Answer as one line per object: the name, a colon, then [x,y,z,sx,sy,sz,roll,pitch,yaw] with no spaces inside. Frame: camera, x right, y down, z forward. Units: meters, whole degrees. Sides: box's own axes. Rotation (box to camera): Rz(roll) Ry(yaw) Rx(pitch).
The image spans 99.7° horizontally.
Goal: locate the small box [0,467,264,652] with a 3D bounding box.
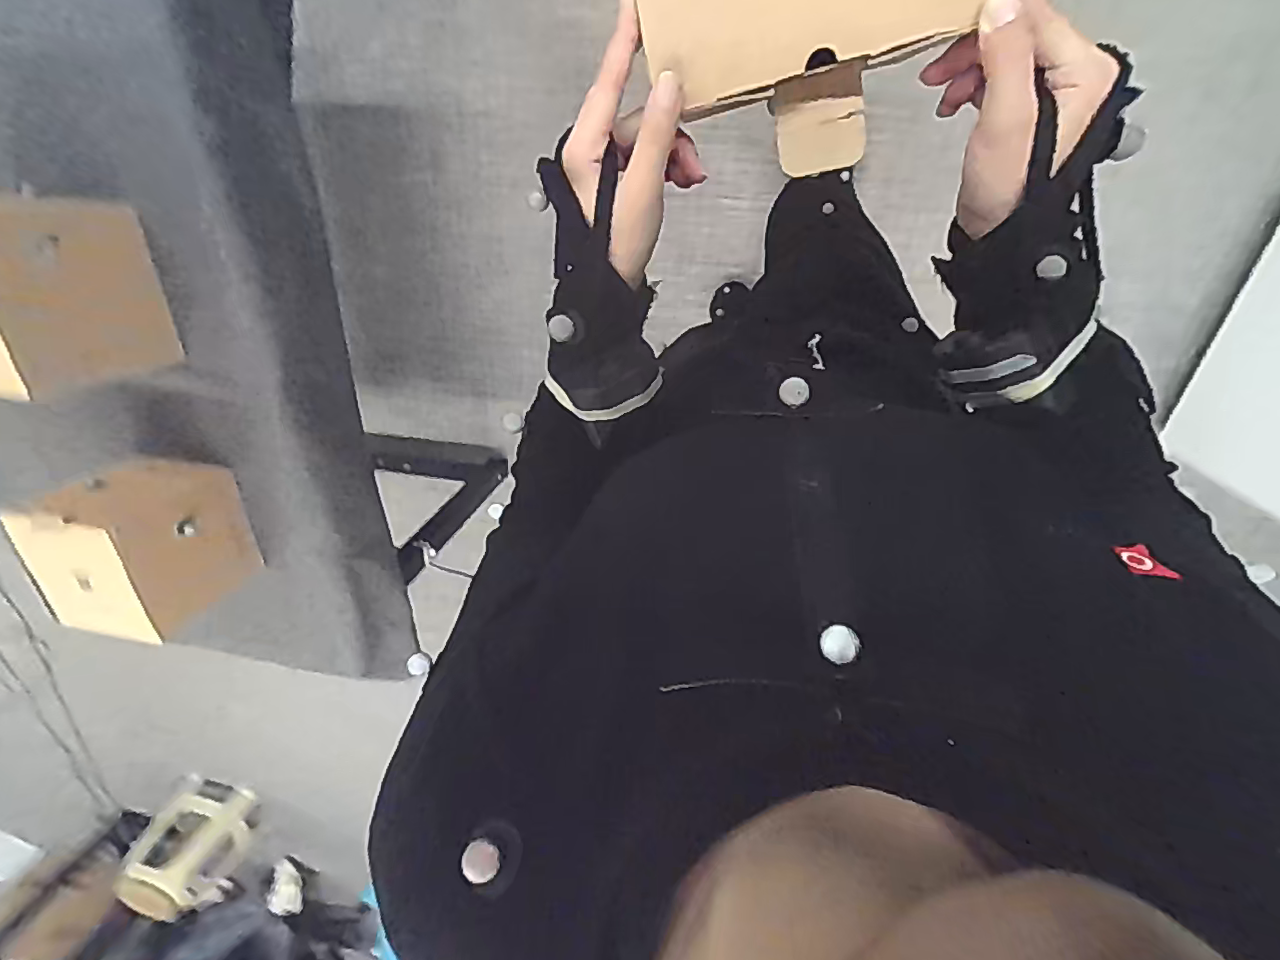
small box: [-0.659,0.096,0.726,0.168,0.176,0.179,6,118,10]
